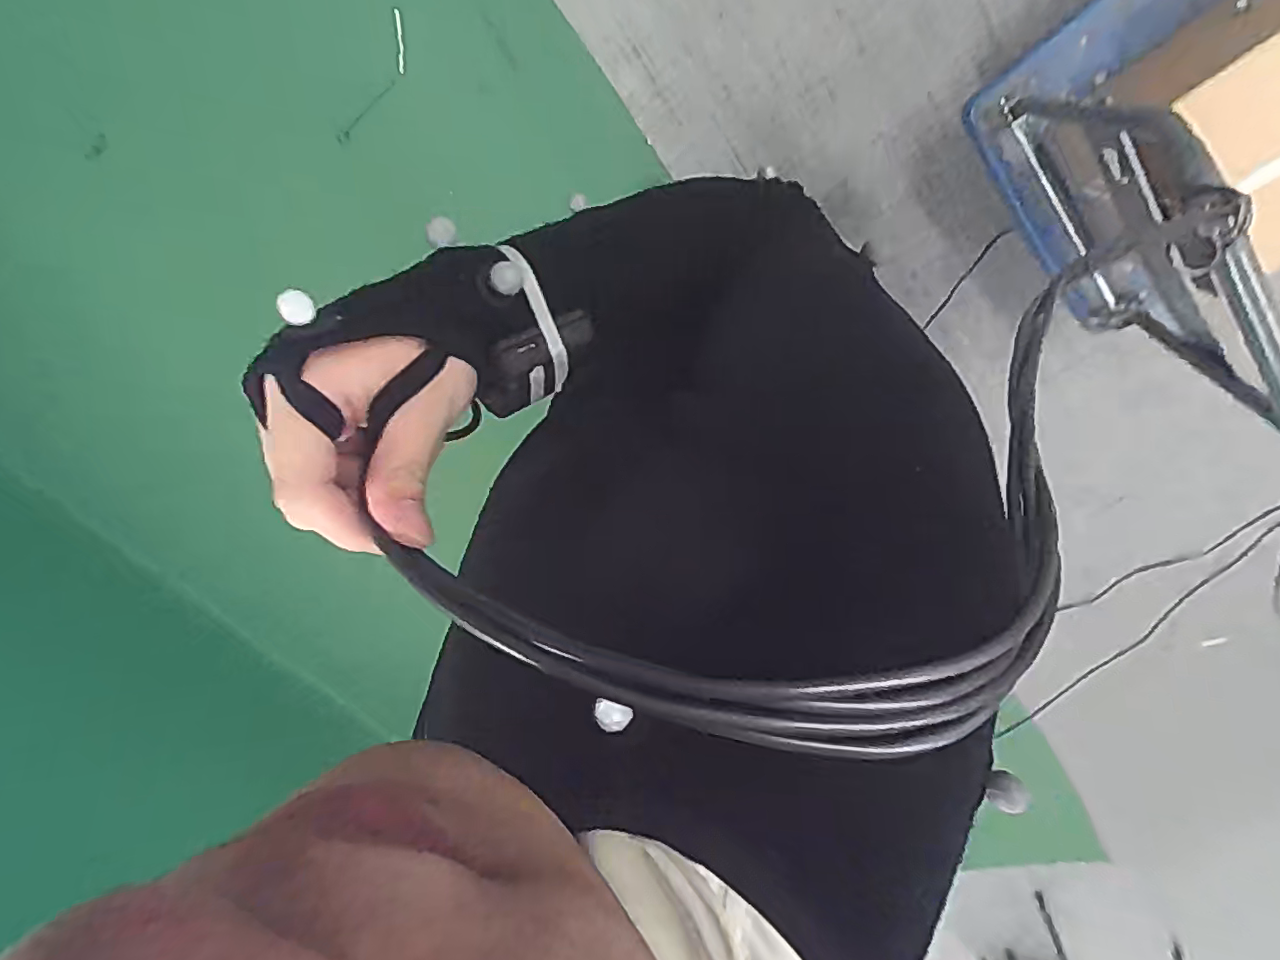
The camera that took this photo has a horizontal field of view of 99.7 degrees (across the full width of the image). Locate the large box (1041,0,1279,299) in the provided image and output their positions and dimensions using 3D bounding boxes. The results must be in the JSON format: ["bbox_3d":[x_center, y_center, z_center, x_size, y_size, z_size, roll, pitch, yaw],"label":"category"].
[{"bbox_3d":[0.962,-0.562,0.842,0.408,0.320,0.320,-34,110,28],"label":"large box"}]
